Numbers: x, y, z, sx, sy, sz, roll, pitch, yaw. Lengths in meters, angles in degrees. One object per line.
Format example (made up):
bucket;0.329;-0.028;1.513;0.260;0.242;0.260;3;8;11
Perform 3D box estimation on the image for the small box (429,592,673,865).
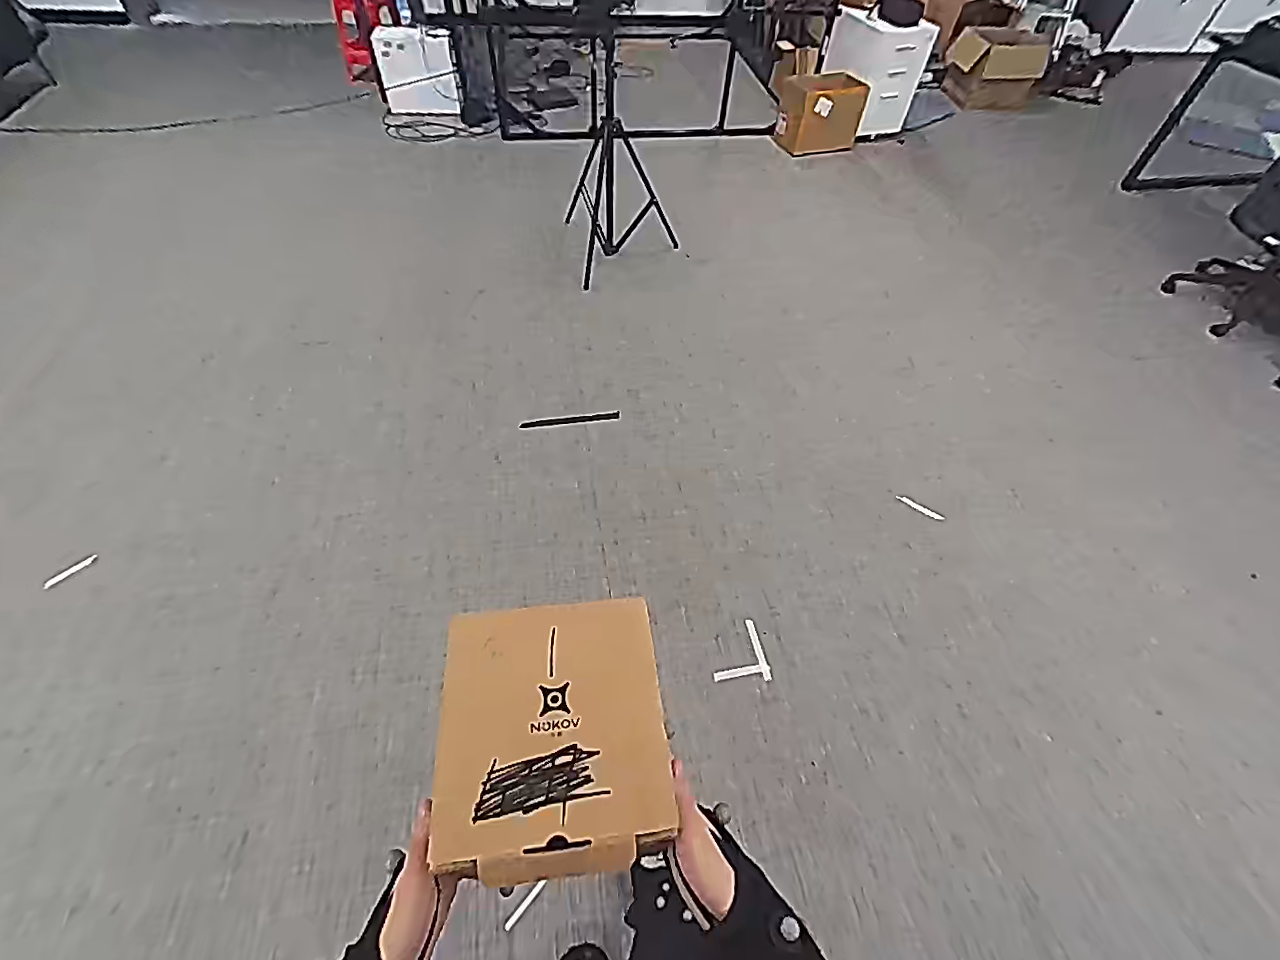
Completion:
small box;-0.069;0.219;0.470;0.168;0.176;0.179;-4;51;-7
